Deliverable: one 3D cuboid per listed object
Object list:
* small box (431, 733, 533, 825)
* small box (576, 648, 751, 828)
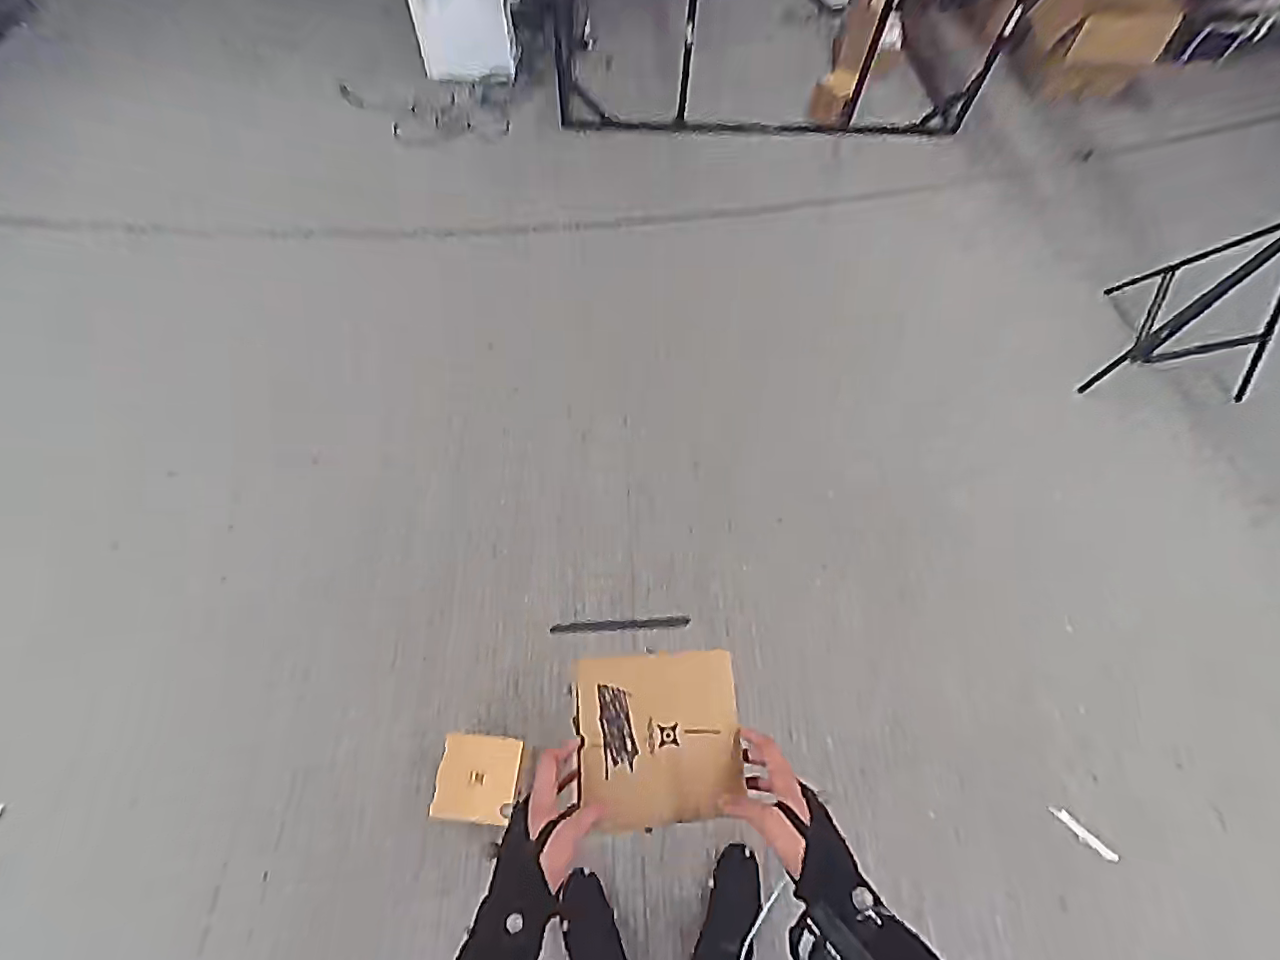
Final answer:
[{"bbox_3d":[-0.357,0.692,1.261,0.179,0.176,0.168,5,62,1],"label":"small box"},{"bbox_3d":[0.013,0.295,0.642,0.179,0.176,0.168,0,69,-10],"label":"small box"}]
